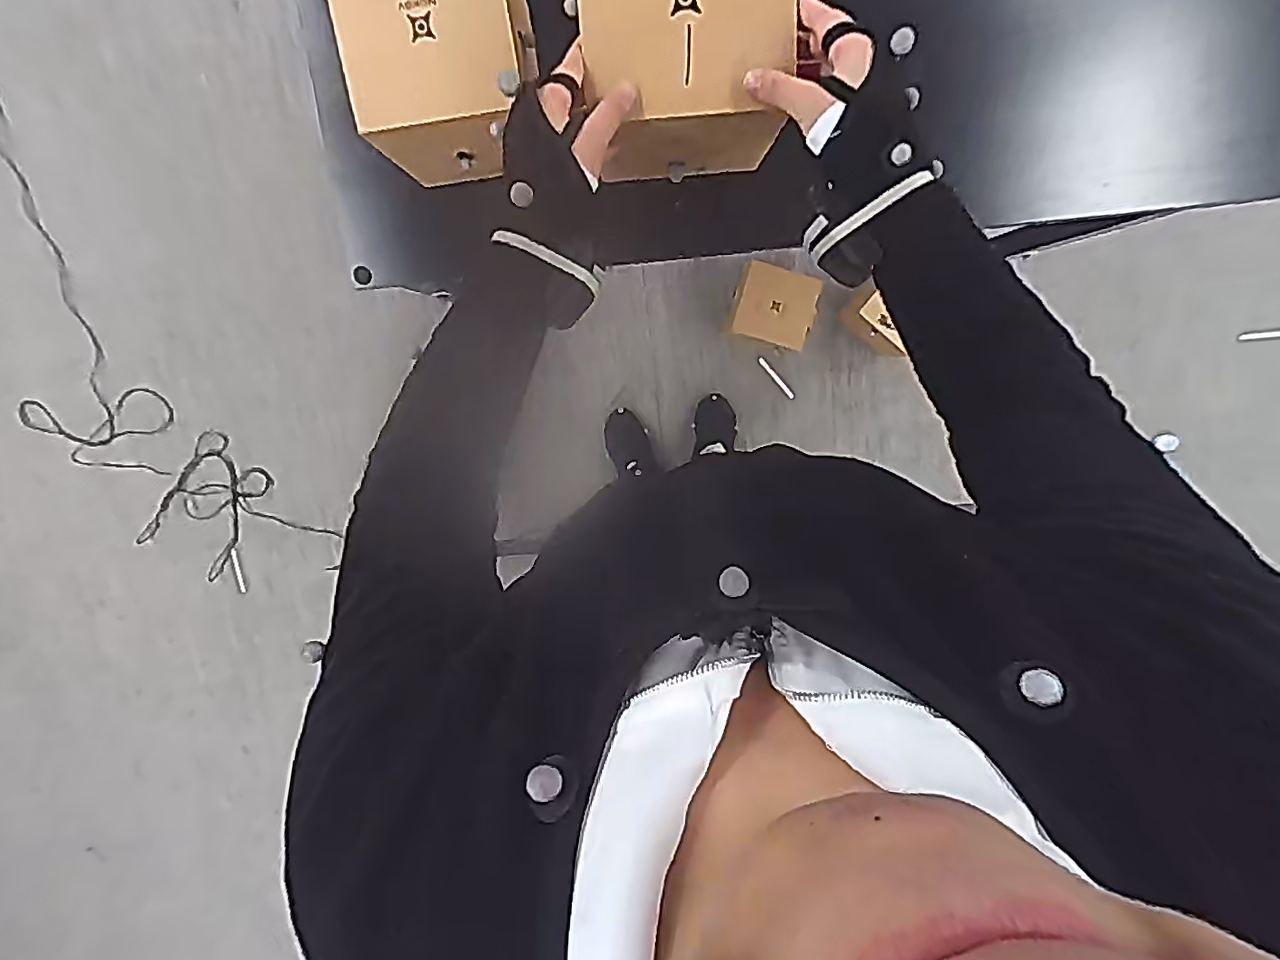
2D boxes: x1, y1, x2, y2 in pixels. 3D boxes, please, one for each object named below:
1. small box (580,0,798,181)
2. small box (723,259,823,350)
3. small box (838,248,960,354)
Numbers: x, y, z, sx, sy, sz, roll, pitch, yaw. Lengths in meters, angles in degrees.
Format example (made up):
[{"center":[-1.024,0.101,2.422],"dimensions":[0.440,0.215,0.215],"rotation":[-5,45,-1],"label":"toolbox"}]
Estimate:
[{"center":[0.035,-0.386,0.476],"dimensions":[0.168,0.176,0.179],"rotation":[-4,106,2],"label":"small box"},{"center":[0.316,-0.423,1.327],"dimensions":[0.179,0.176,0.168],"rotation":[15,102,-2],"label":"small box"},{"center":[0.619,-0.428,1.319],"dimensions":[0.168,0.176,0.179],"rotation":[37,101,-7],"label":"small box"}]
